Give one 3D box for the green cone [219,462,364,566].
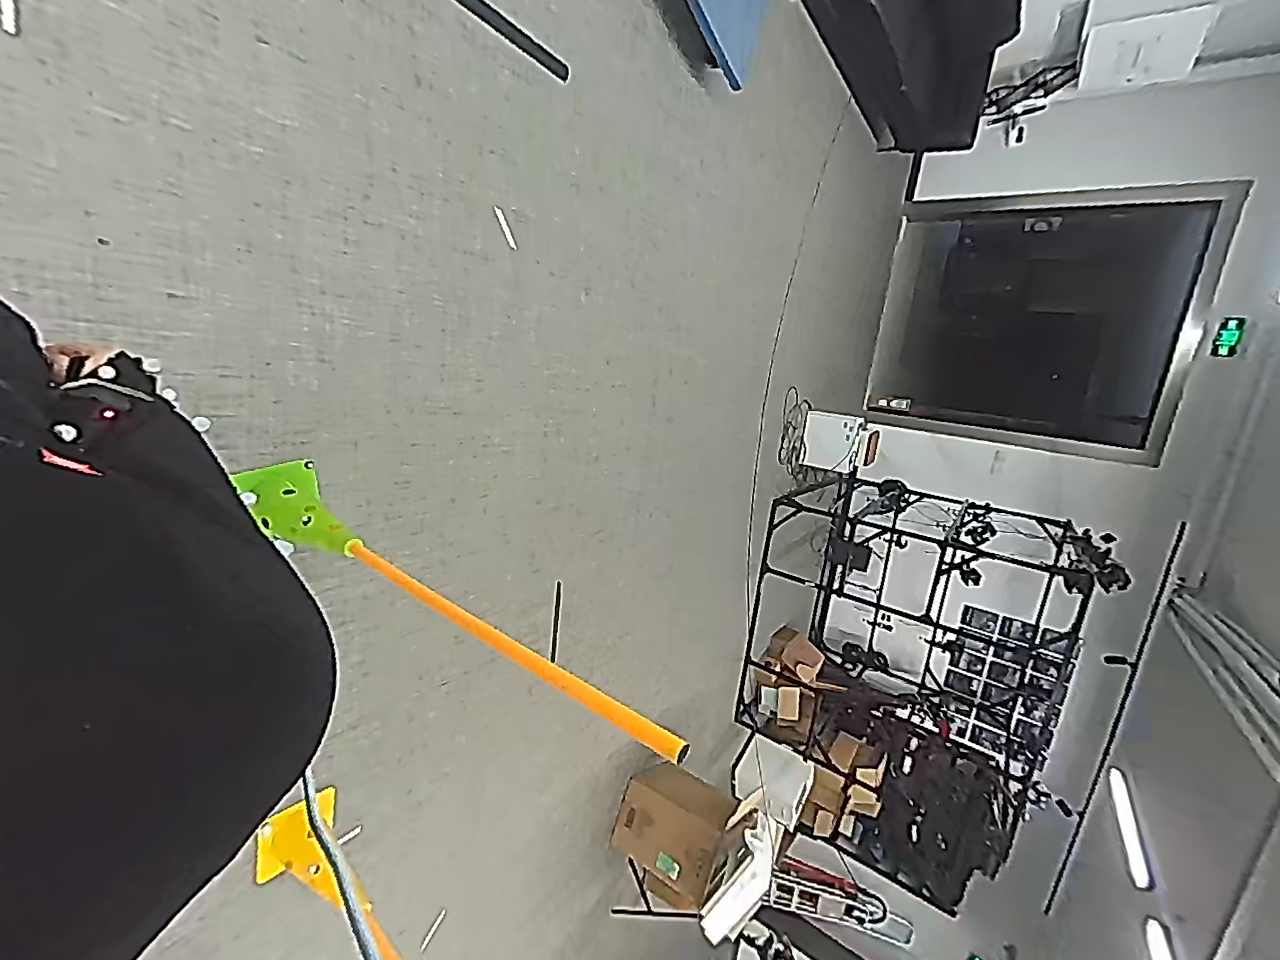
[{"bbox_3d":[-0.734,0.110,1.199,0.200,0.368,0.202,-25,124,-50],"label":"green cone"}]
